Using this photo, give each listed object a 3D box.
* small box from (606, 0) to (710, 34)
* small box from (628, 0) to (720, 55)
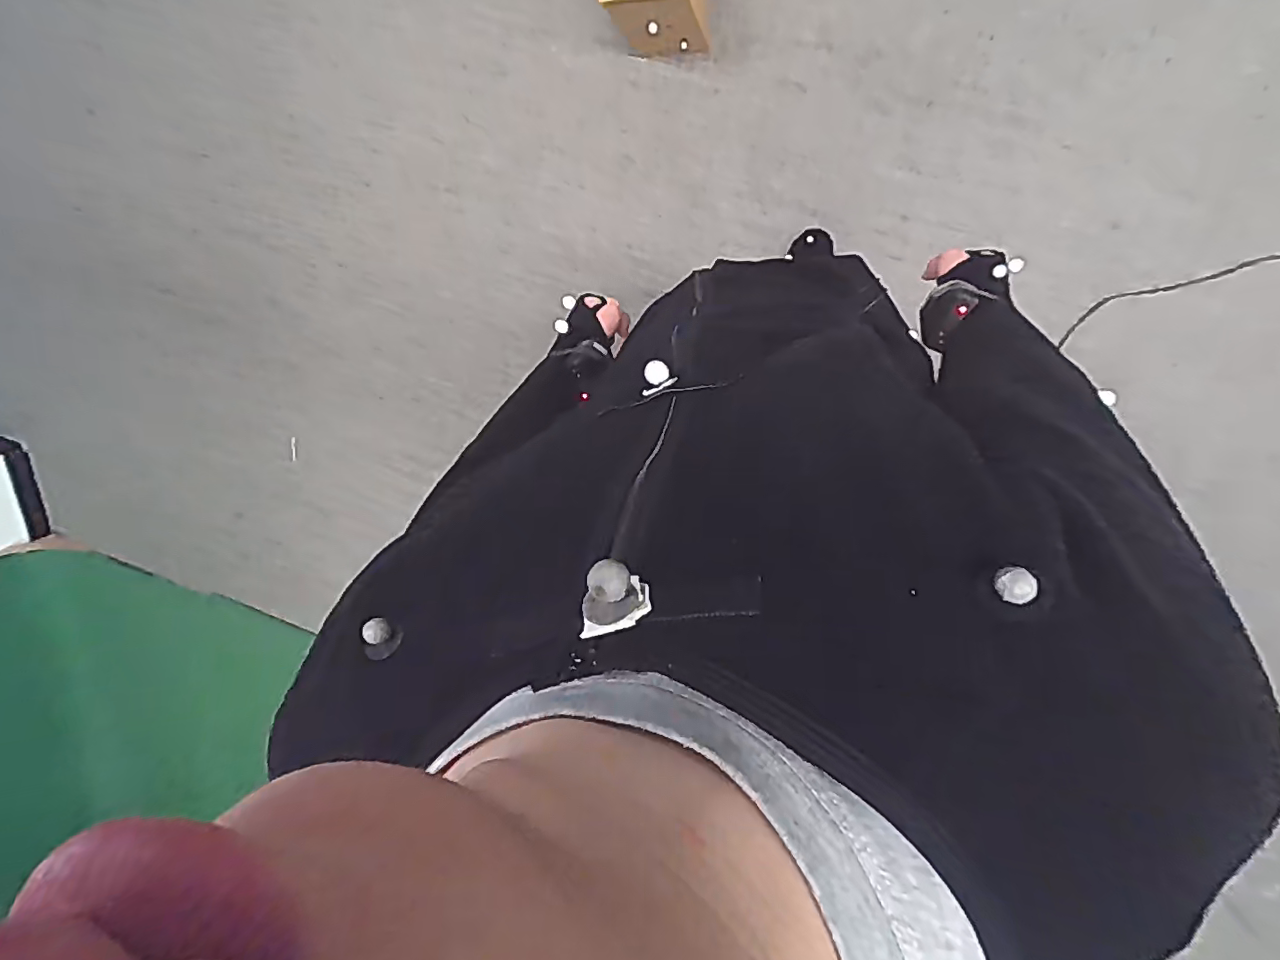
[{"bbox_3d":[0.037,-0.950,0.980,0.168,0.176,0.179,7,116,14],"label":"small box"},{"bbox_3d":[0.077,-1.016,1.126,0.168,0.176,0.179,6,113,14],"label":"small box"}]
